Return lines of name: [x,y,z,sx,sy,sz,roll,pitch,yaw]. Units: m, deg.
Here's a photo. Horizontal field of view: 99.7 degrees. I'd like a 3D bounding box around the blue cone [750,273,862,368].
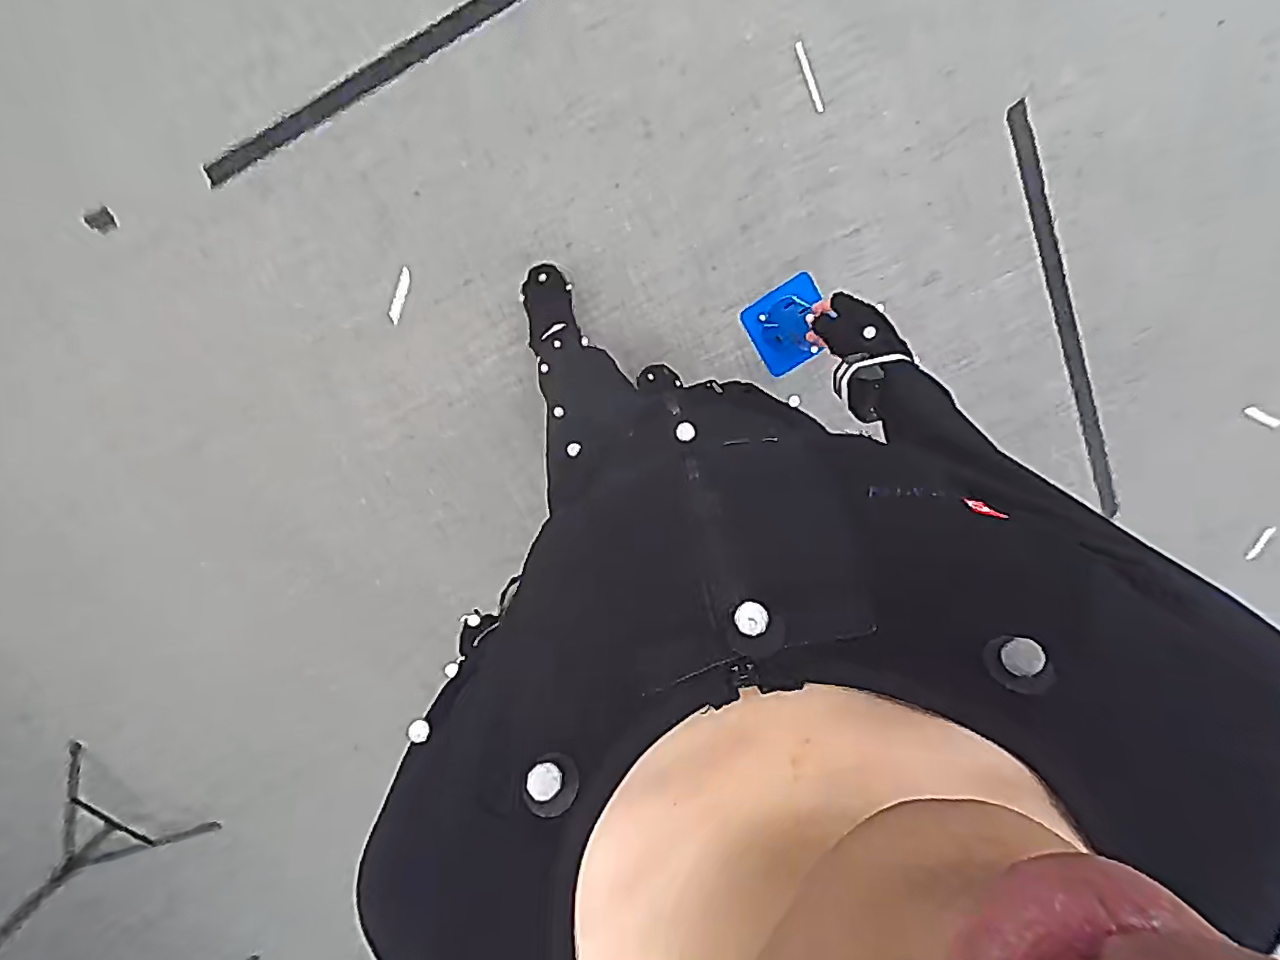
blue cone: [0.392,-0.353,1.208,0.192,0.380,0.193,-31,105,7]
